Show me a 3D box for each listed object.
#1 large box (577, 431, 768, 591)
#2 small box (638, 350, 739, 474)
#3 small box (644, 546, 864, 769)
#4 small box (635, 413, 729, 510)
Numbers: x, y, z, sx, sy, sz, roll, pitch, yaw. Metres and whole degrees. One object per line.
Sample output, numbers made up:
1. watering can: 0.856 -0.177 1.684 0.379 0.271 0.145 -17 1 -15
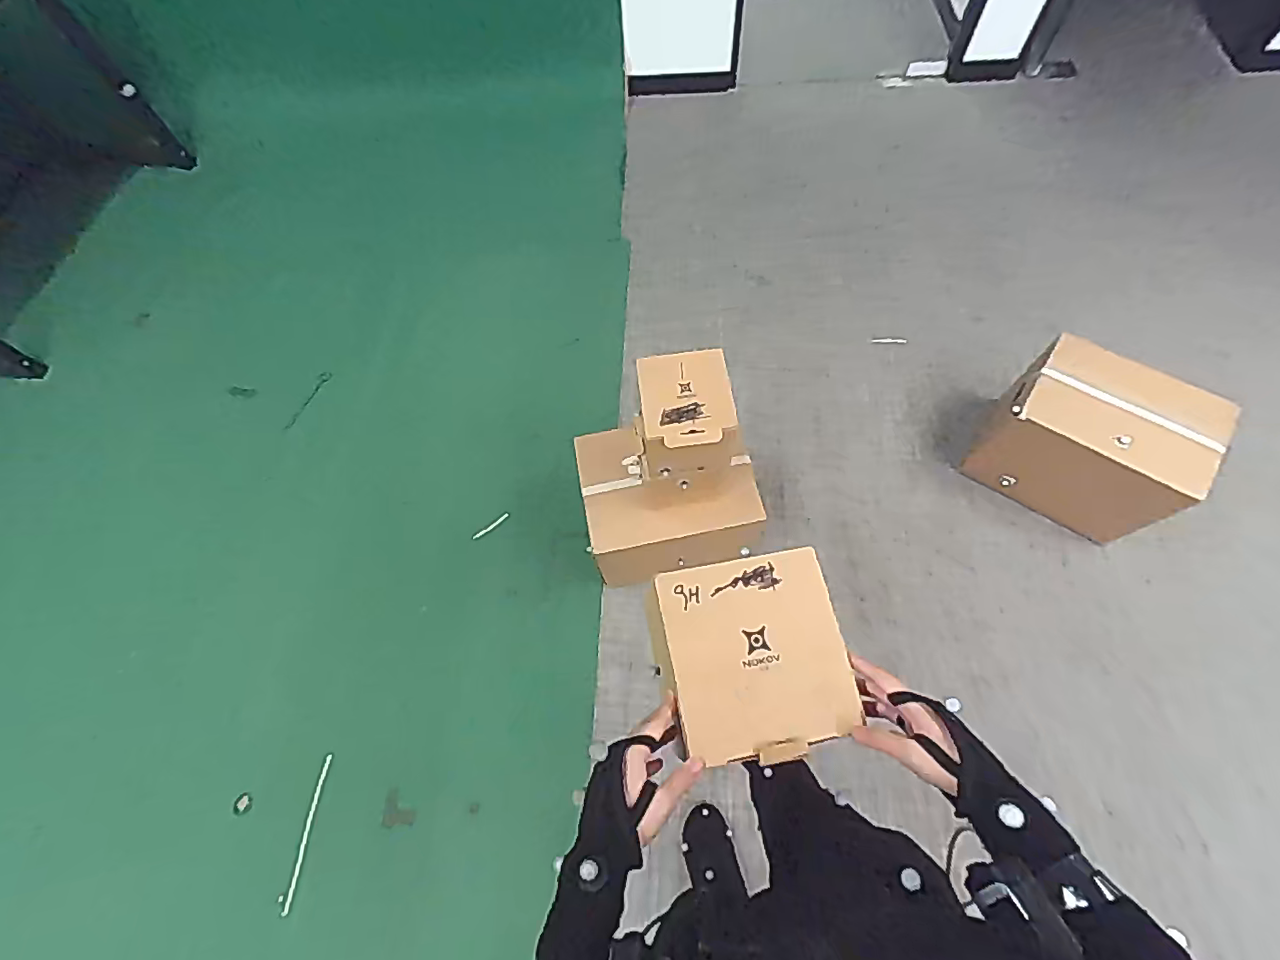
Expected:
1. large box: 0.080 0.067 1.408 0.408 0.320 0.320 -12 63 -1
2. small box: 0.090 -0.121 1.044 0.168 0.176 0.179 -7 65 1
3. small box: 0.103 0.183 0.576 0.168 0.176 0.179 -9 71 -7
4. small box: 0.091 -0.046 1.189 0.179 0.176 0.168 -9 65 -1
